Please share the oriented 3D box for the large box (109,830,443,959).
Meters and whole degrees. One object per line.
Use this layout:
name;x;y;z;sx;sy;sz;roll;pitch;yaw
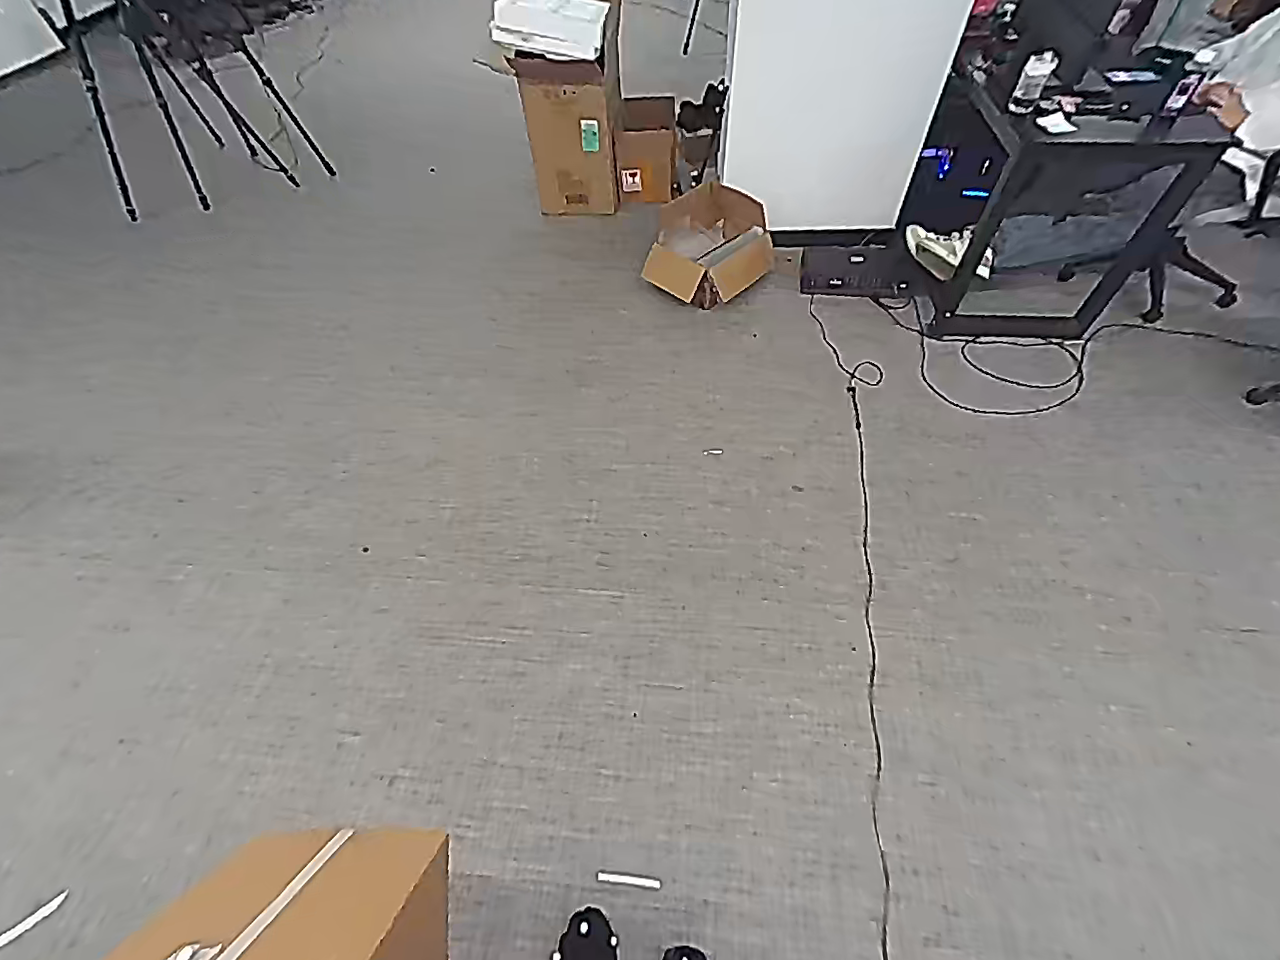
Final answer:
large box;-0.468;0.711;0.670;0.320;0.408;0.320;-1;87;1
